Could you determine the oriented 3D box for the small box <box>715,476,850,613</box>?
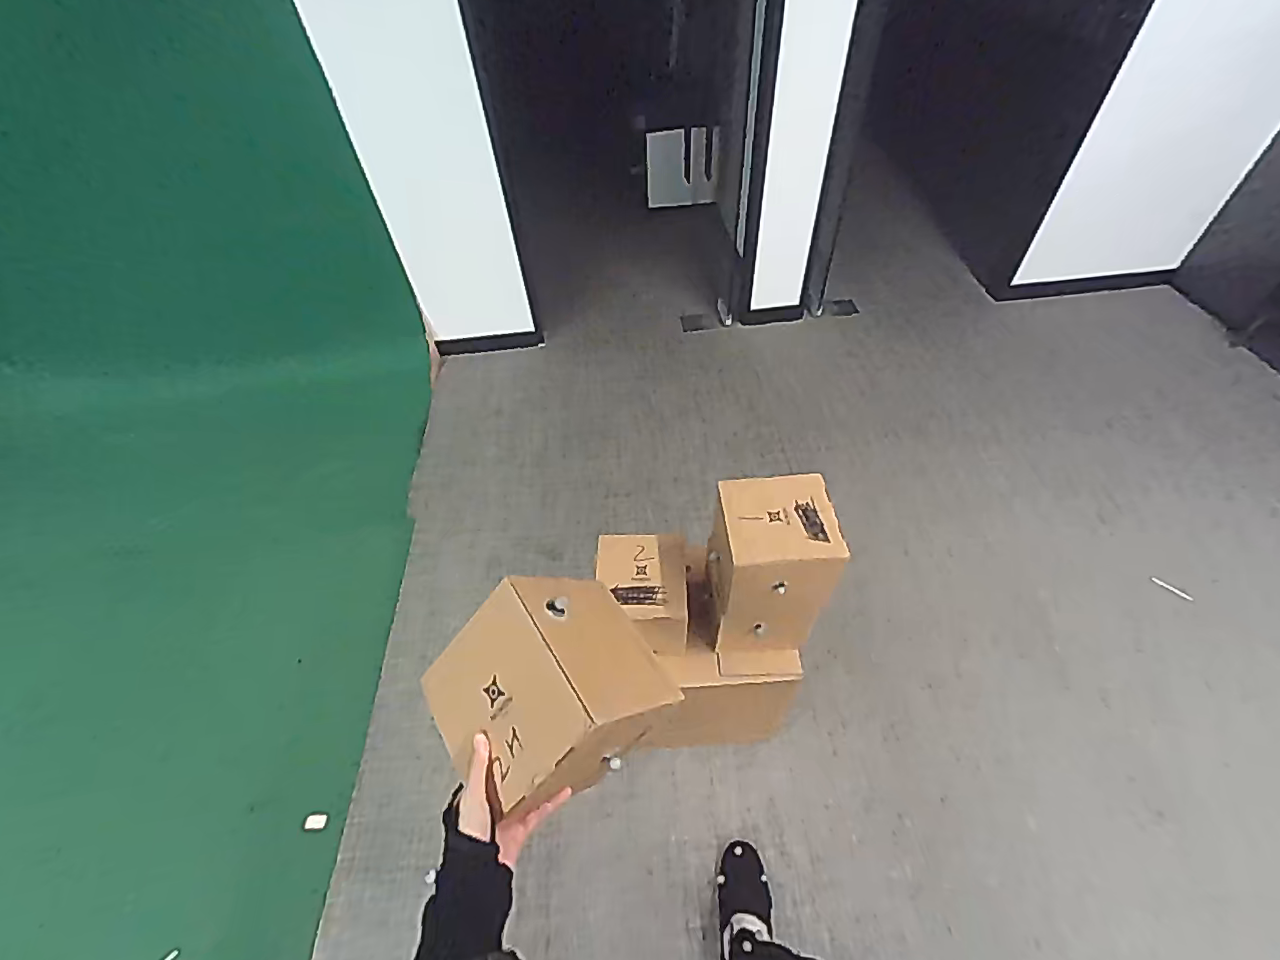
[{"bbox_3d":[0.226,0.111,0.909,0.179,0.176,0.168,-4,51,1],"label":"small box"}]

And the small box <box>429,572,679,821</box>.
[{"bbox_3d":[-0.091,0.224,0.597,0.168,0.176,0.179,-49,58,15],"label":"small box"}]
